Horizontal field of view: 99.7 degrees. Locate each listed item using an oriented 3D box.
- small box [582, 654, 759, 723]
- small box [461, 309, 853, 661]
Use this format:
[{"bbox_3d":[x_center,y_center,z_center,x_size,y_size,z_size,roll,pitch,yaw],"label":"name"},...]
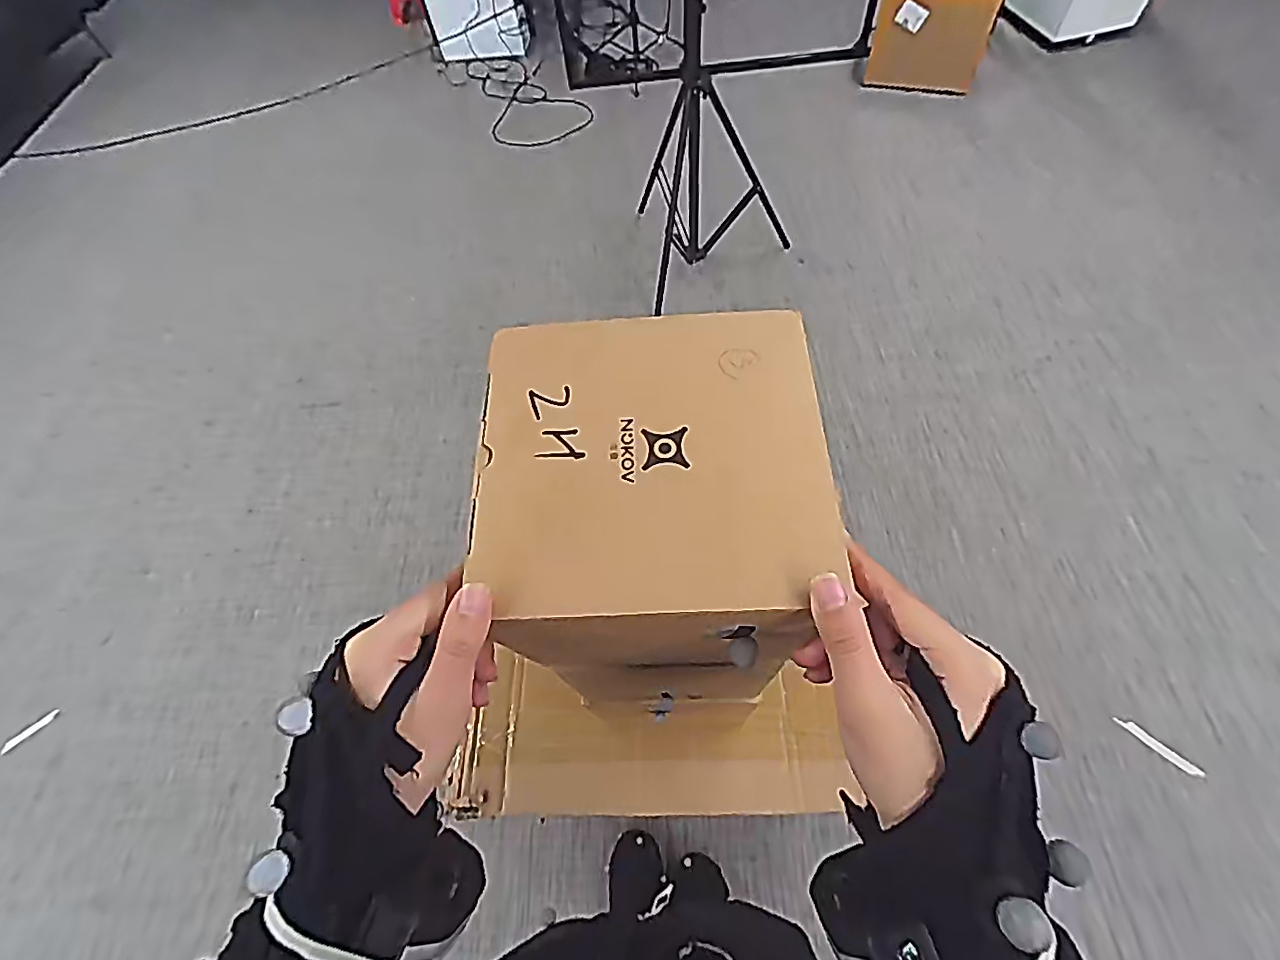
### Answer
[{"bbox_3d":[0.036,0.185,0.629,0.179,0.176,0.168,-3,60,3],"label":"small box"},{"bbox_3d":[0.011,0.017,0.342,0.179,0.176,0.168,-3,63,4],"label":"small box"}]
